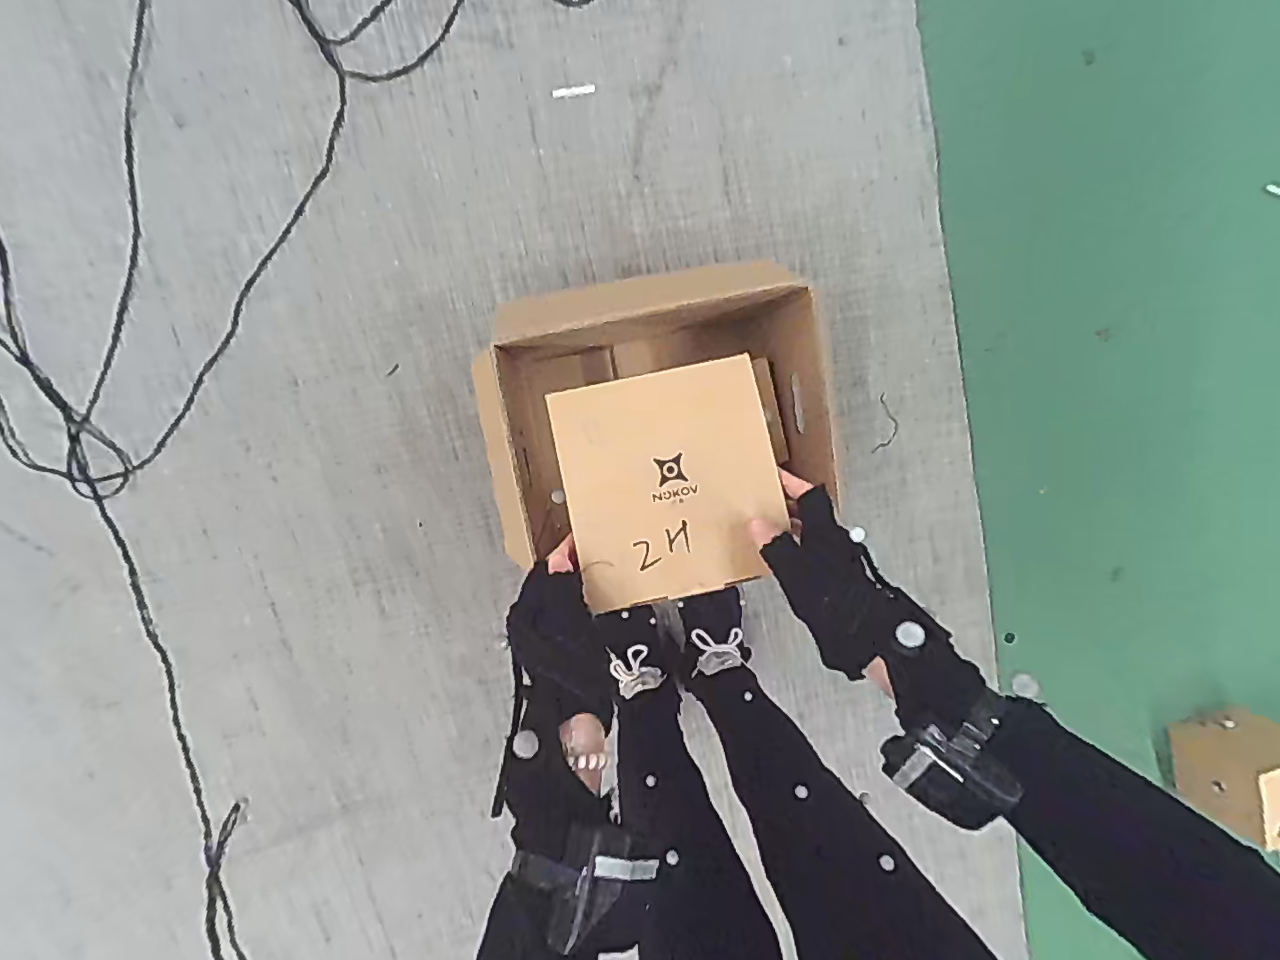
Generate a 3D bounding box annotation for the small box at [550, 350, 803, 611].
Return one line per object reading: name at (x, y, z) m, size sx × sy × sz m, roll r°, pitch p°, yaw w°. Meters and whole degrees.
small box at (0.024, 0.007, 0.484) m, size 0.168 × 0.176 × 0.179 m, roll -11°, pitch 84°, yaw -2°

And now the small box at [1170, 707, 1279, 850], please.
small box at (1.272, 0.613, 1.130) m, size 0.168 × 0.176 × 0.179 m, roll -16°, pitch 98°, yaw -3°
